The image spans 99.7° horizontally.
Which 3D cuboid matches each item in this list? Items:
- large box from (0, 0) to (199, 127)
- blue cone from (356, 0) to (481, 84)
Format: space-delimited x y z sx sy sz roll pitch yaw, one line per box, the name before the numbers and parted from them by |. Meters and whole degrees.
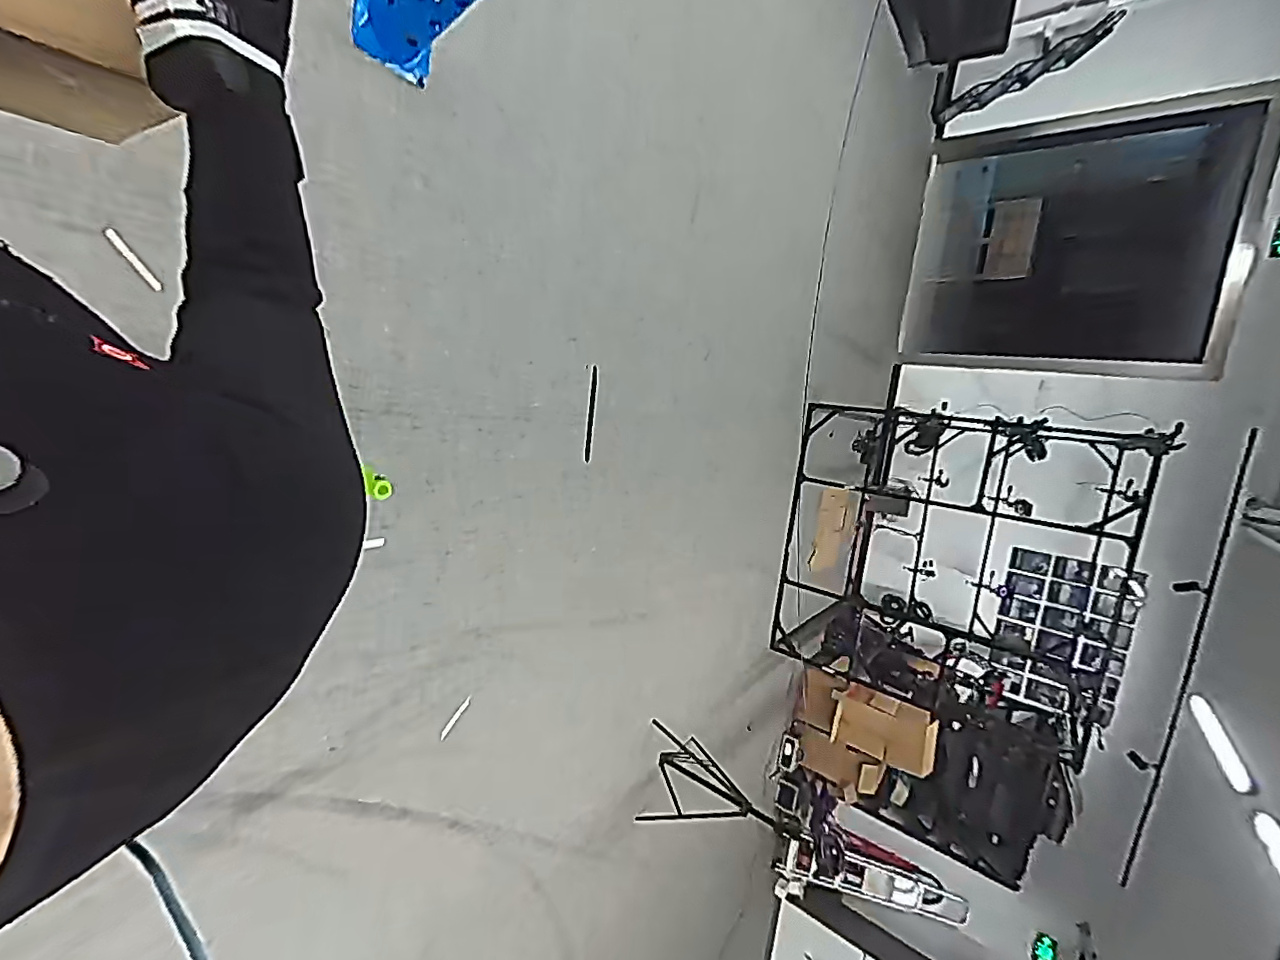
large box | -0.553 -0.469 0.308 0.408 0.320 0.320 -7 111 -53
blue cone | -0.490 -1.119 1.276 0.192 0.380 0.193 2 99 -55
